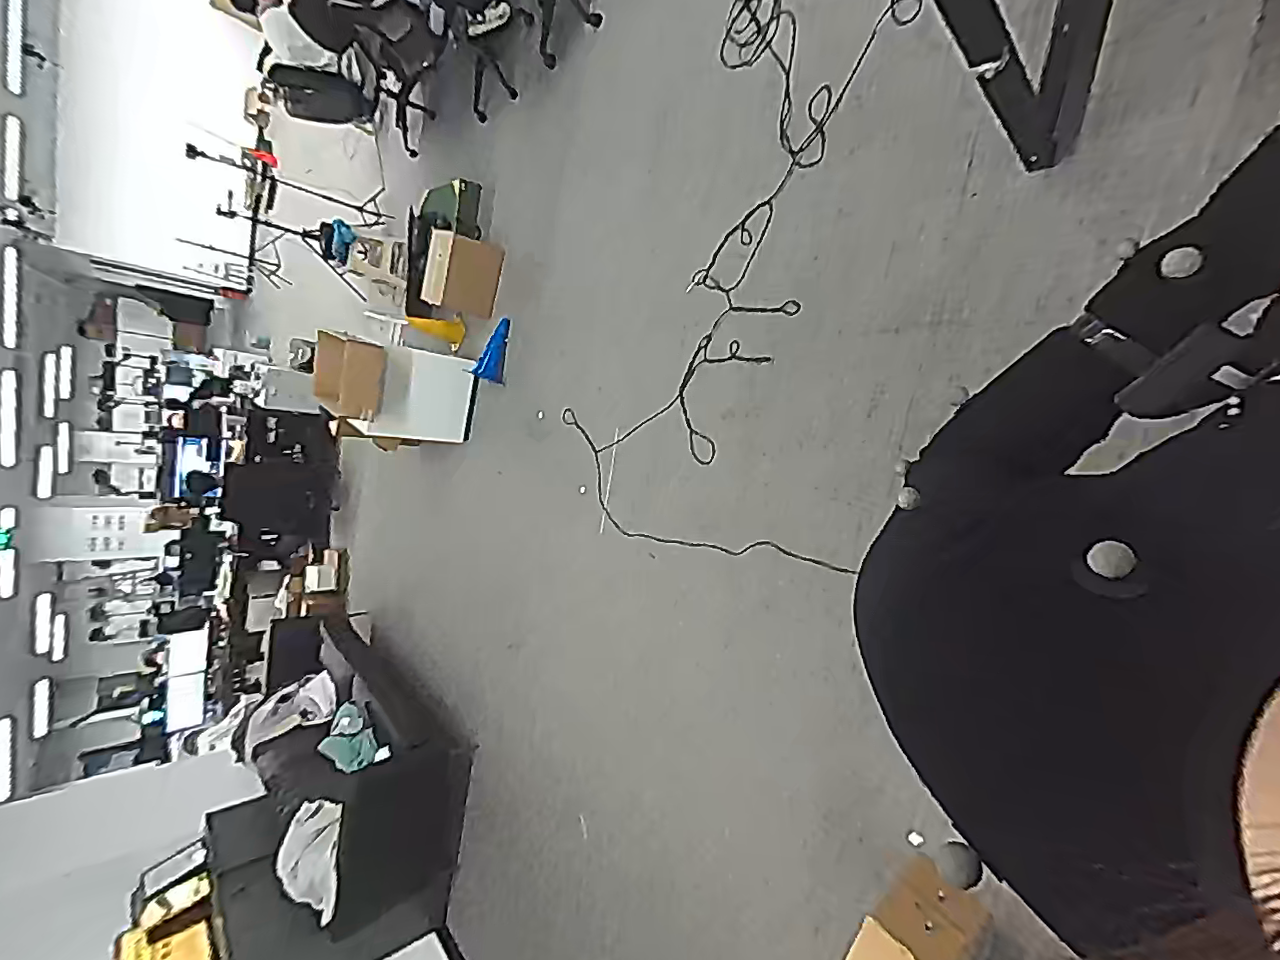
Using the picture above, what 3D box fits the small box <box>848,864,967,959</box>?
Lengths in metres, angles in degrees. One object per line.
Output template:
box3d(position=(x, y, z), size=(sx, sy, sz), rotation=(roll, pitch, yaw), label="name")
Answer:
box3d(position=(0.616, 1.044, 1.240), size=(0.168, 0.176, 0.179), rotation=(29, 109, 43), label="small box")
